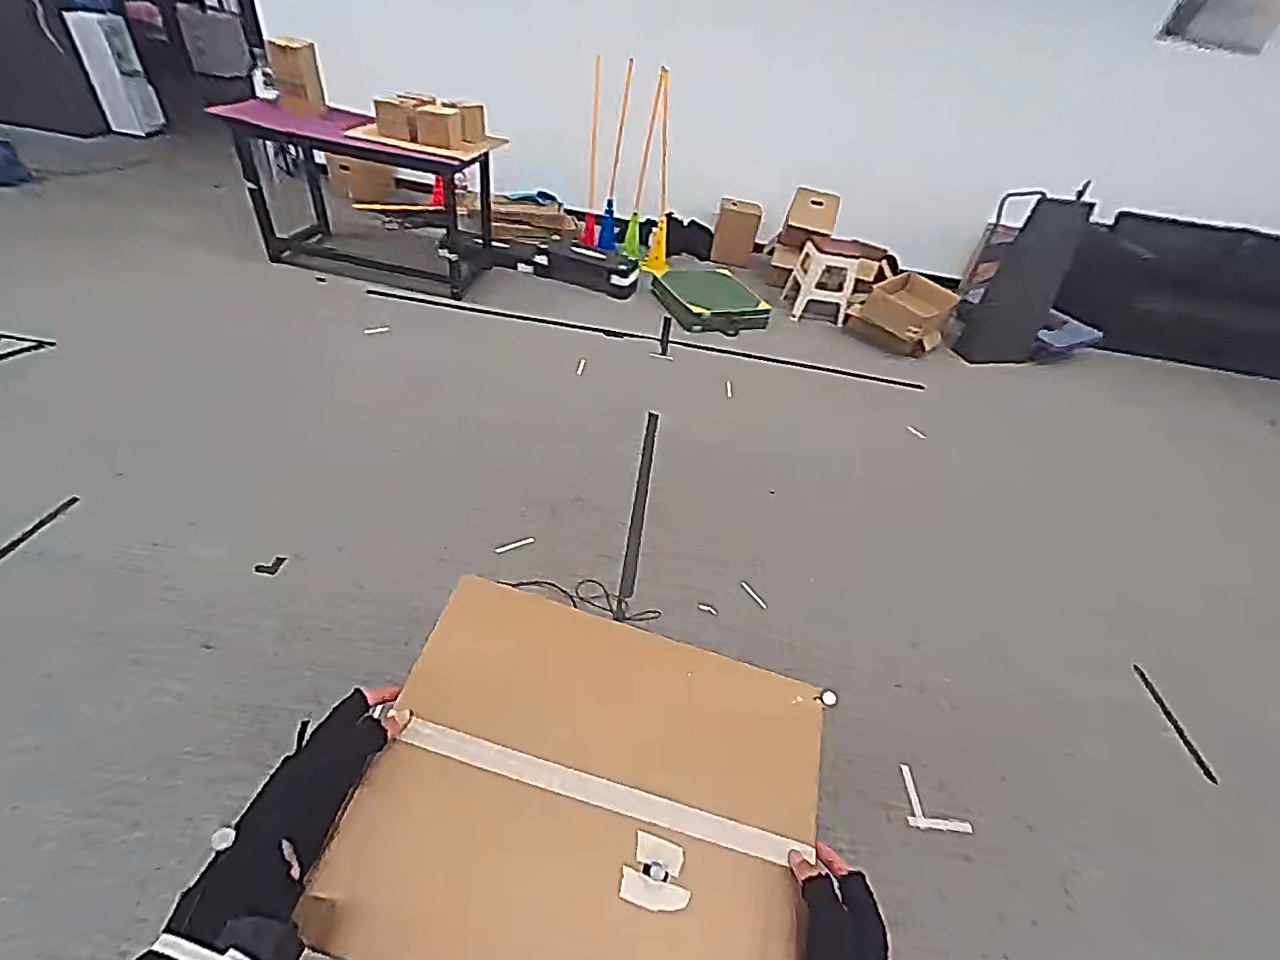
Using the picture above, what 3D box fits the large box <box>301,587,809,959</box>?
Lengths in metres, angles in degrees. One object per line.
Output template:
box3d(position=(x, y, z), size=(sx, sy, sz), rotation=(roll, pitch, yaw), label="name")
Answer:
box3d(position=(-0.066, 0.373, 0.623), size=(0.408, 0.320, 0.320), rotation=(17, 54, 1), label="large box")
